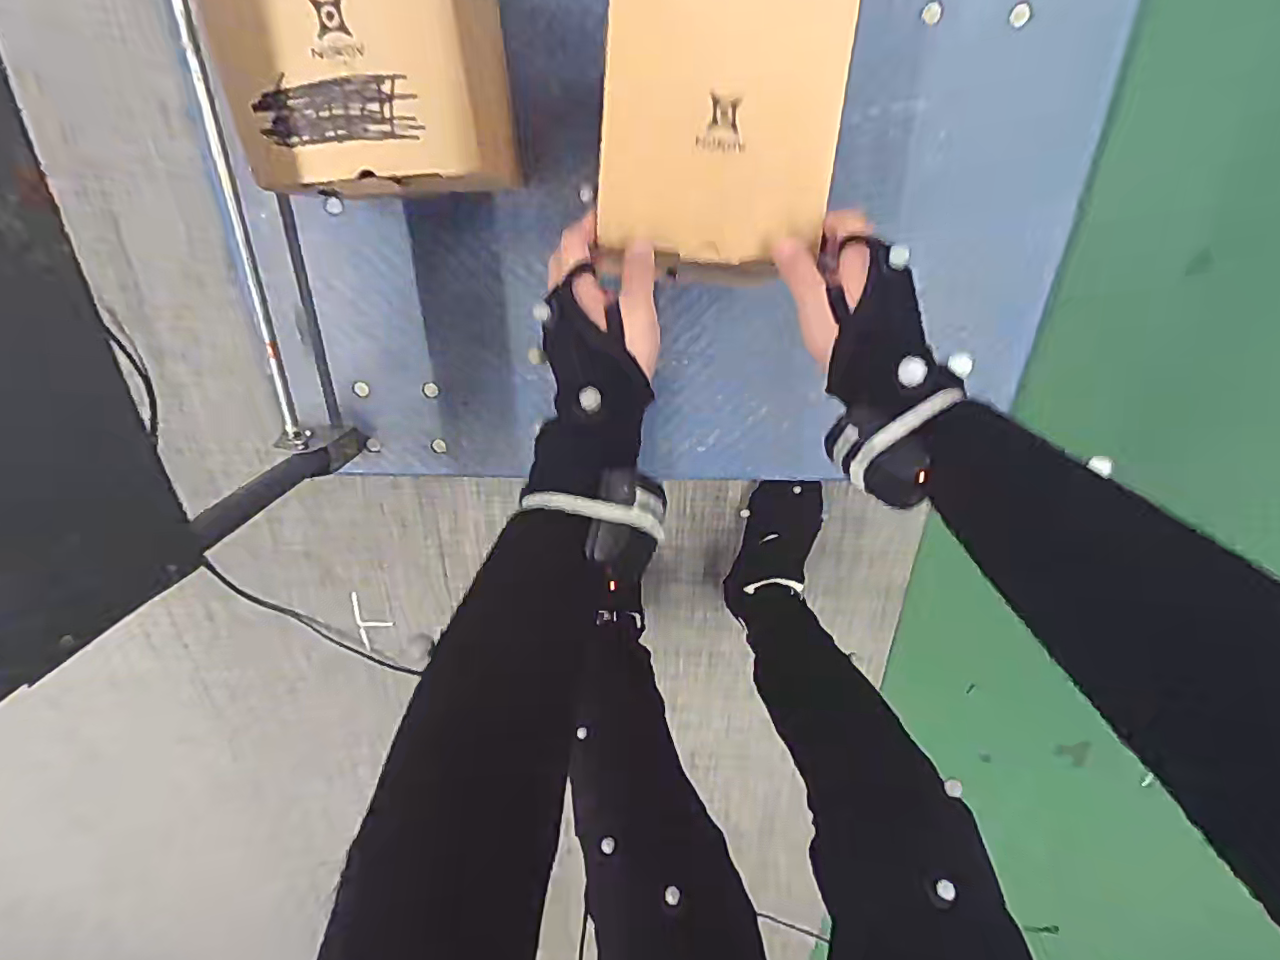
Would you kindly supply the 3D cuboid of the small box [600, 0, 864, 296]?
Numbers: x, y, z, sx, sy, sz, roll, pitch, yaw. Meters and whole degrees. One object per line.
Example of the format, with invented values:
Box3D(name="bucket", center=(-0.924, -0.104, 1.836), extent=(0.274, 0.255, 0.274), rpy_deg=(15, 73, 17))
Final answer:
Box3D(name="small box", center=(0.055, -0.255, 0.446), extent=(0.168, 0.176, 0.179), rpy_deg=(3, 105, -5))
